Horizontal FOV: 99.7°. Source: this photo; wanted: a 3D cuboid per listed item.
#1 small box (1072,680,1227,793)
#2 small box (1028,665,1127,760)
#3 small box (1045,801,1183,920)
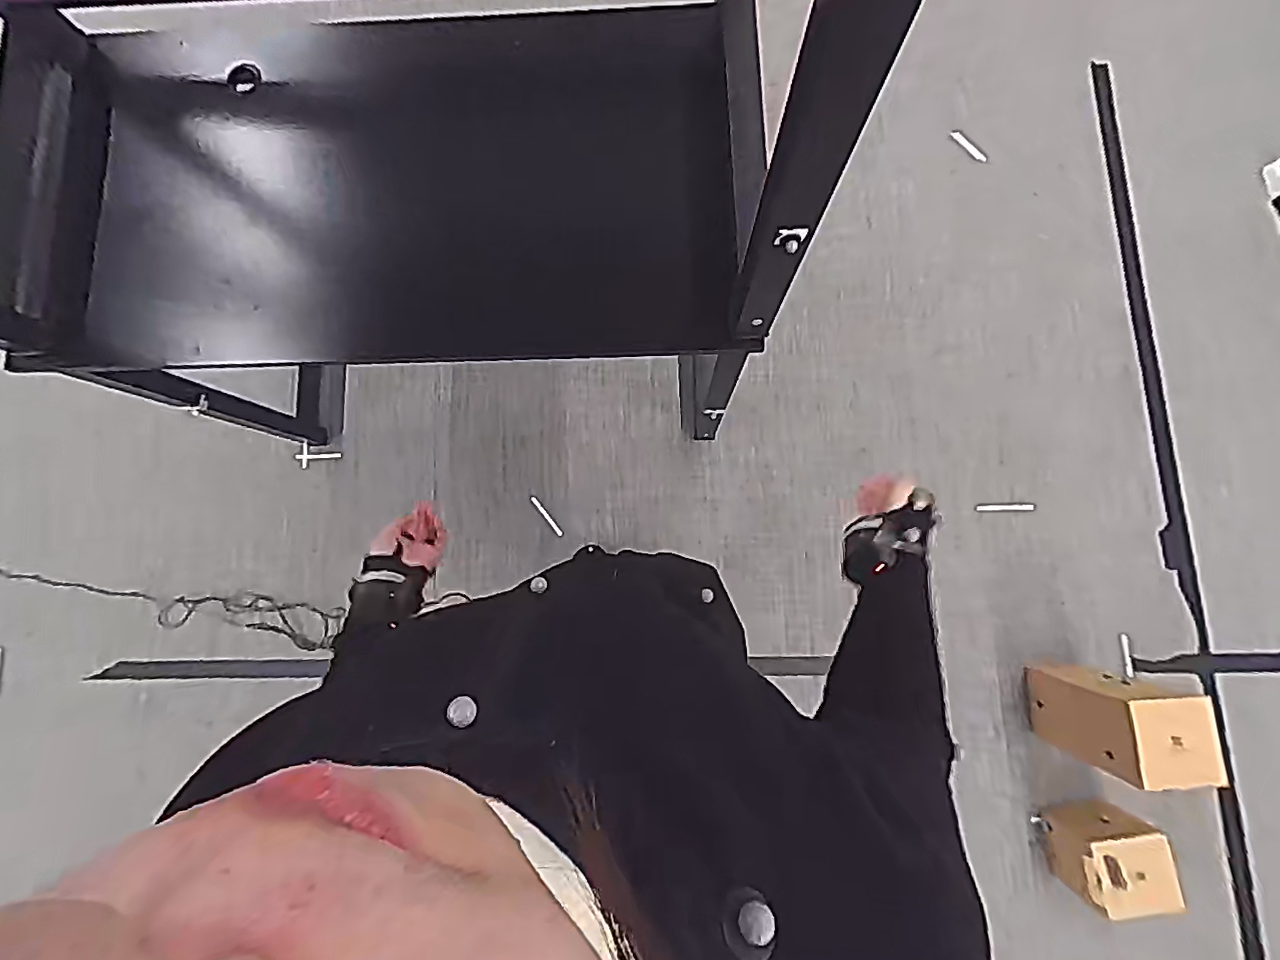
[{"bbox_3d":[1.084,0.545,1.166,0.168,0.176,0.179,-4,83,2],"label":"small box"},{"bbox_3d":[1.094,0.565,1.328,0.168,0.176,0.179,-2,84,2],"label":"small box"},{"bbox_3d":[1.112,0.898,1.289,0.179,0.176,0.168,-8,83,1],"label":"small box"}]
